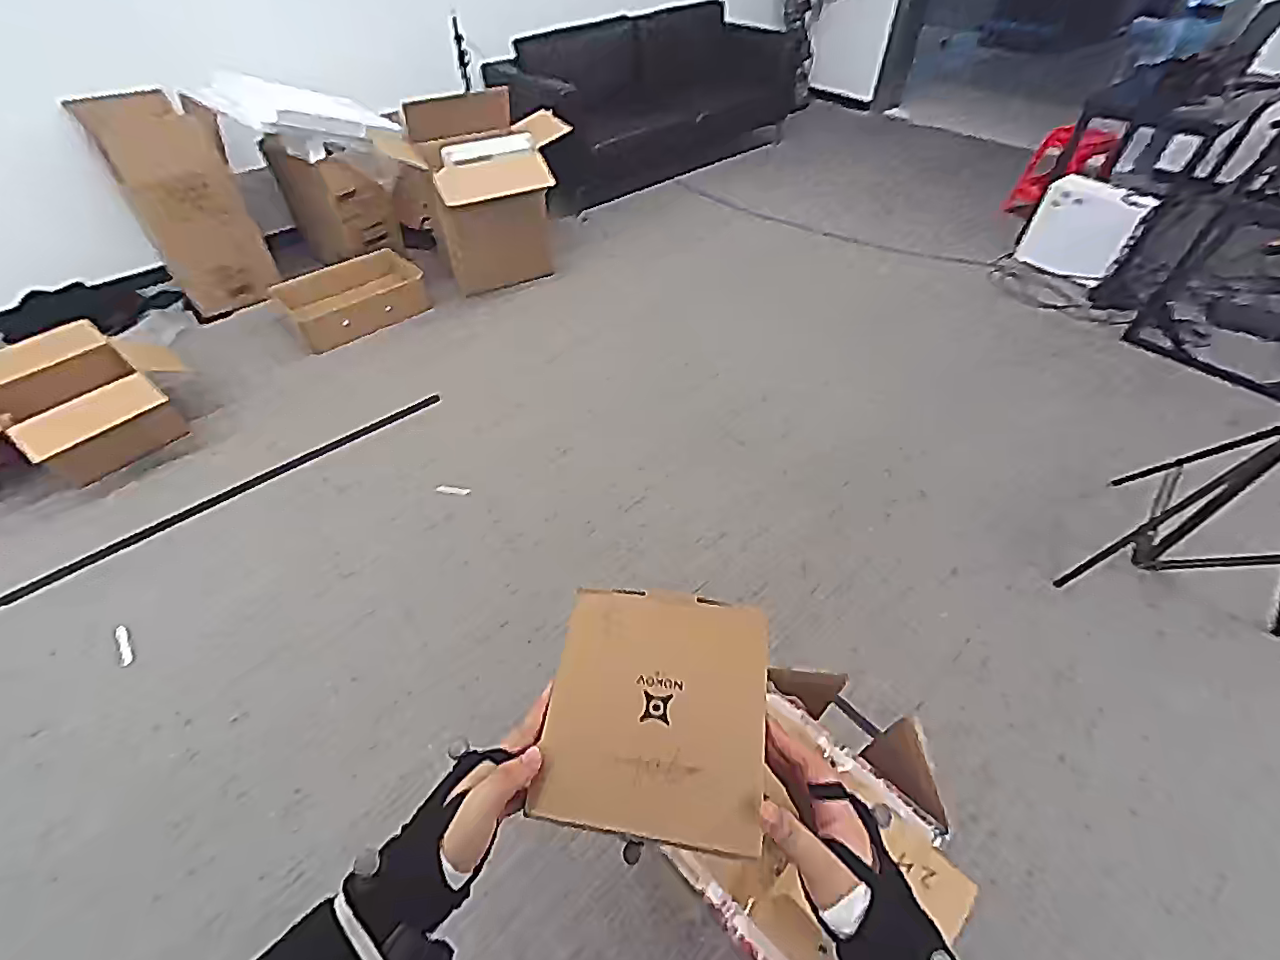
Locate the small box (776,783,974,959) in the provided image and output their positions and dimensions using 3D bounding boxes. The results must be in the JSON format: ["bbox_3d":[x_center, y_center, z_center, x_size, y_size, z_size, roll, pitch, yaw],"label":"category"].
[{"bbox_3d":[0.303,0.559,0.736,0.179,0.176,0.168,-38,60,-26],"label":"small box"}]

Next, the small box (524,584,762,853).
[{"bbox_3d":[0.013,0.214,0.482,0.168,0.176,0.179,5,56,8],"label":"small box"}]
